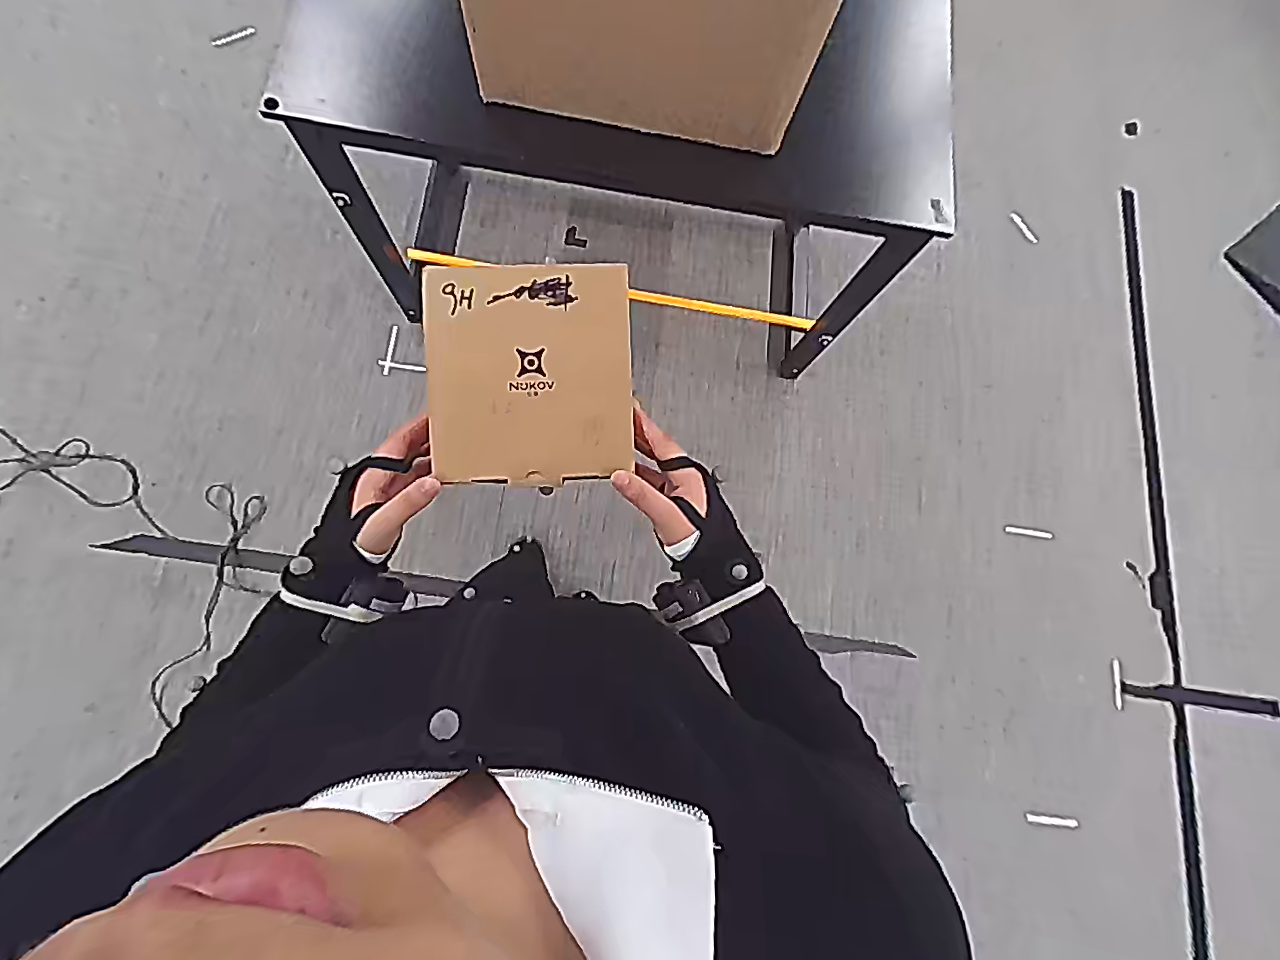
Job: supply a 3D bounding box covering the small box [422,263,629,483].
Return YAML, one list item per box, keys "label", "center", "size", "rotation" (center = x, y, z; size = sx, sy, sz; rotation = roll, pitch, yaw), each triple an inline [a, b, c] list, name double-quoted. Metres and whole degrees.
- label: "small box"
  center: [-0.094, -0.092, 0.517]
  size: [0.168, 0.176, 0.179]
  rotation: [-2, 93, -3]
